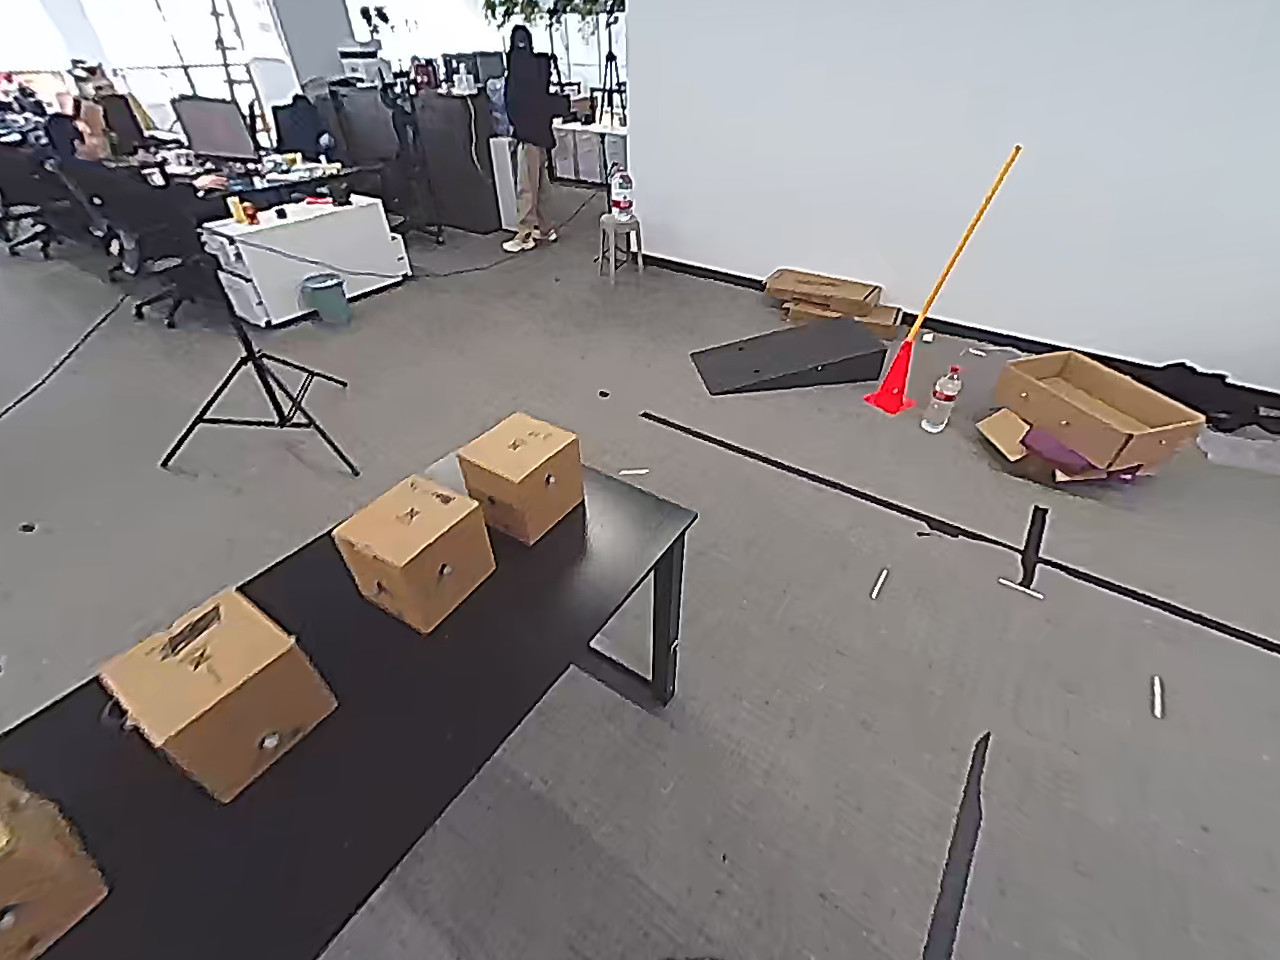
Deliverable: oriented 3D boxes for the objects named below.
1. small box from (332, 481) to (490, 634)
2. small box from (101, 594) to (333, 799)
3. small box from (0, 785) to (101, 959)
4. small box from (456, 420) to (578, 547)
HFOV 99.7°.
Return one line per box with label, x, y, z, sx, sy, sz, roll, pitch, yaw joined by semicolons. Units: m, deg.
small box;-0.389;0.137;0.954;0.168;0.176;0.179;20;44;23
small box;-0.573;0.300;0.753;0.179;0.176;0.168;23;45;25
small box;-0.742;0.446;0.573;0.179;0.176;0.168;21;42;25
small box;-0.242;0.007;1.112;0.168;0.176;0.179;23;45;26
